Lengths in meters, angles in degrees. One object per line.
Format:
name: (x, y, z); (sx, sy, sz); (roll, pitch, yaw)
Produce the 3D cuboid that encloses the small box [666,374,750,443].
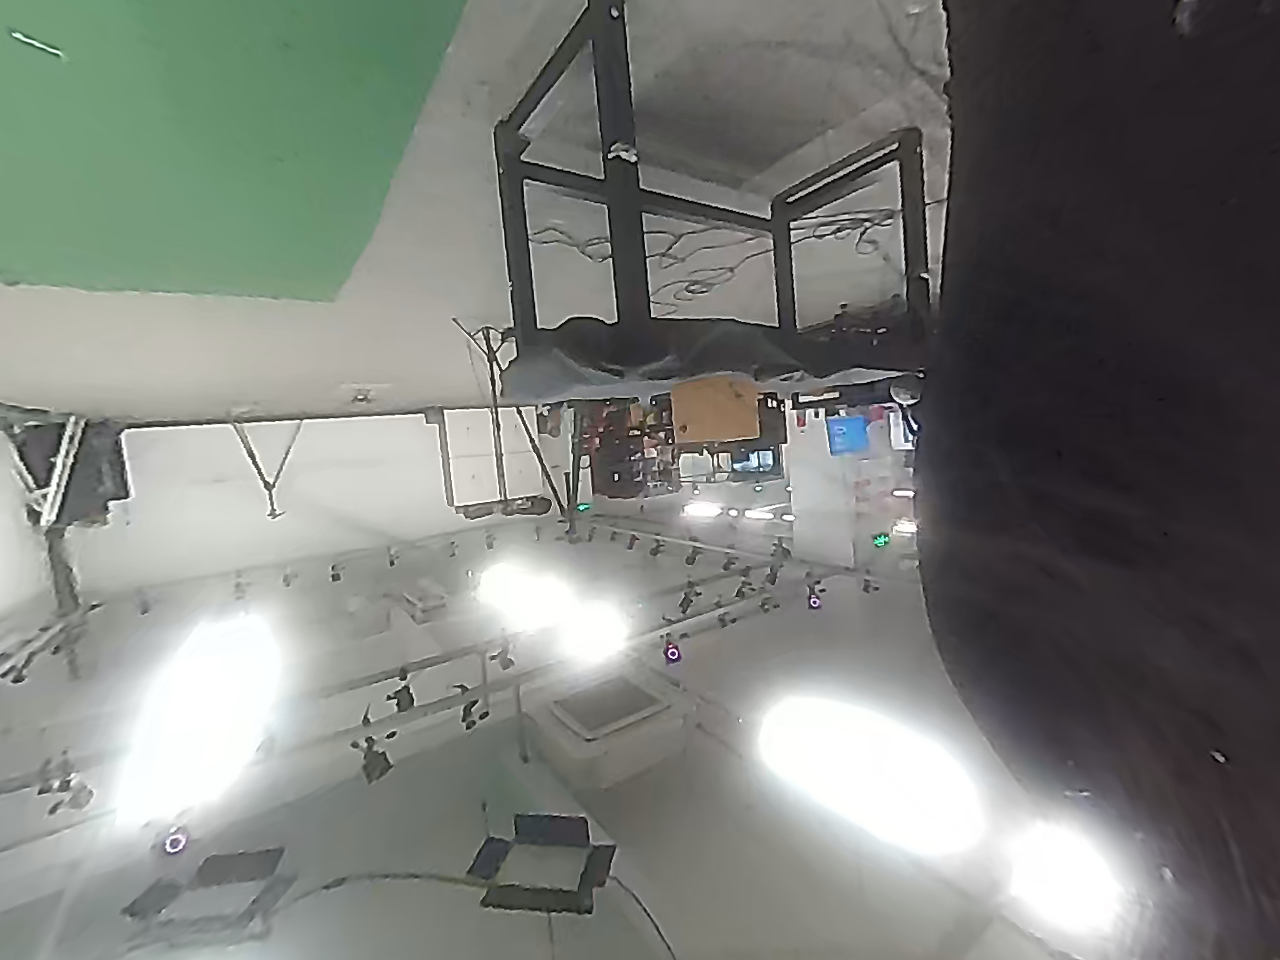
small box: (0.184, -0.195, 1.495); (0.168, 0.176, 0.179); (-10, -174, -37)
